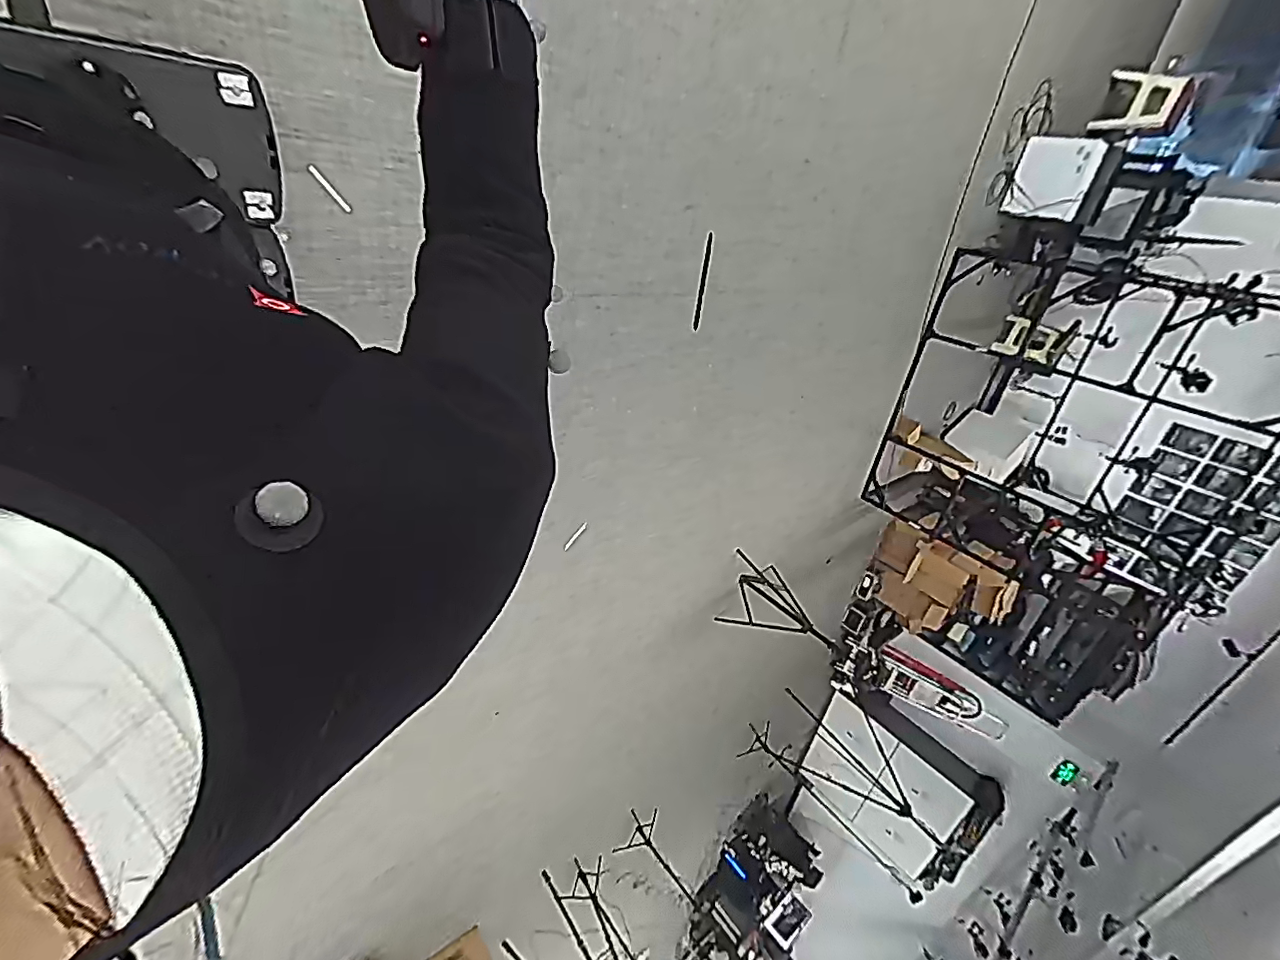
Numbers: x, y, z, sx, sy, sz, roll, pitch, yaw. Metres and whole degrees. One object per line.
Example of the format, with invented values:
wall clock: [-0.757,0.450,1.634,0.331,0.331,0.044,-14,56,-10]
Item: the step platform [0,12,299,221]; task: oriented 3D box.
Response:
step platform: [-1.016,-0.640,0.965,0.684,0.204,0.286,-18,129,-38]
